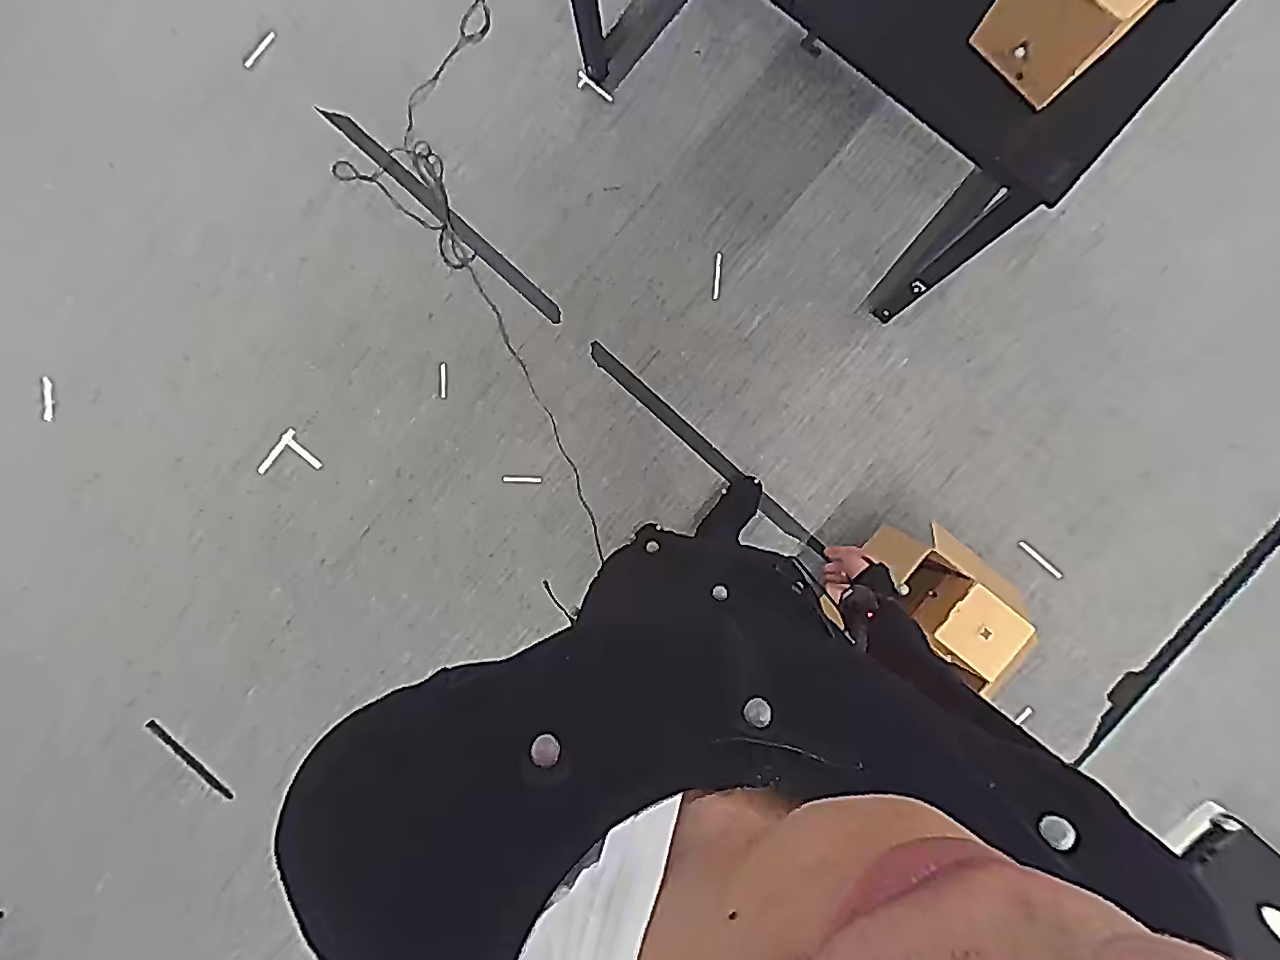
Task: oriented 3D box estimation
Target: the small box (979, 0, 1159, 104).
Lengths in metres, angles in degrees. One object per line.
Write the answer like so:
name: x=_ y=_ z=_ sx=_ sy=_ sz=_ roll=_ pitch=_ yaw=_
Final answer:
small box: x=0.655 y=-0.720 z=0.796 sx=0.179 sy=0.176 sz=0.168 roll=-42 pitch=87 yaw=2
